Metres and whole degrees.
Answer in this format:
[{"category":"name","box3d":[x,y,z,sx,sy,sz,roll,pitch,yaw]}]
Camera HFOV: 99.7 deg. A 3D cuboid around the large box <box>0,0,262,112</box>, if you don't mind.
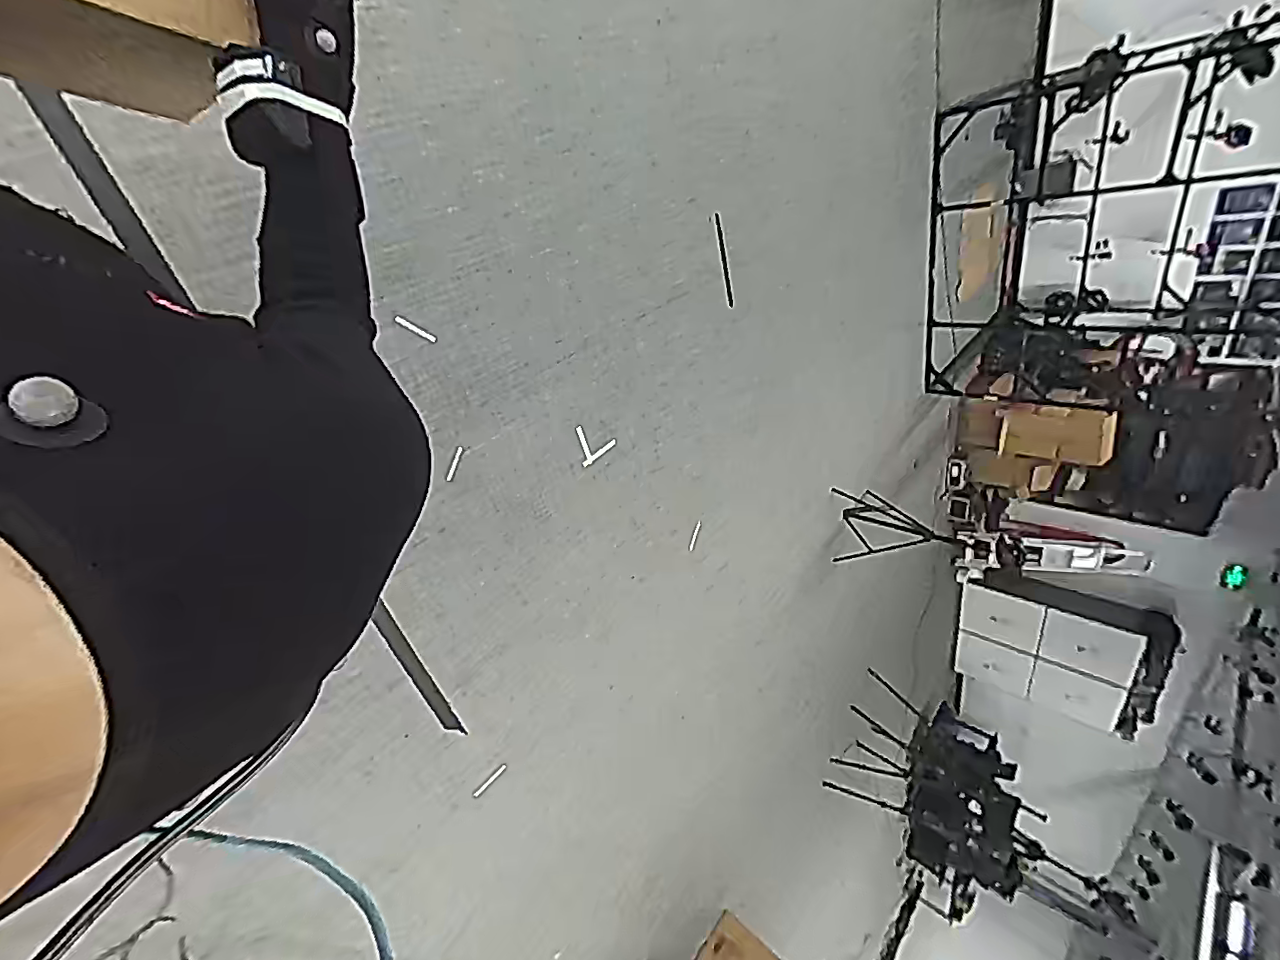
[{"category":"large box","box3d":[-0.521,-0.481,0.322,0.408,0.320,0.320,-13,115,-47]}]
